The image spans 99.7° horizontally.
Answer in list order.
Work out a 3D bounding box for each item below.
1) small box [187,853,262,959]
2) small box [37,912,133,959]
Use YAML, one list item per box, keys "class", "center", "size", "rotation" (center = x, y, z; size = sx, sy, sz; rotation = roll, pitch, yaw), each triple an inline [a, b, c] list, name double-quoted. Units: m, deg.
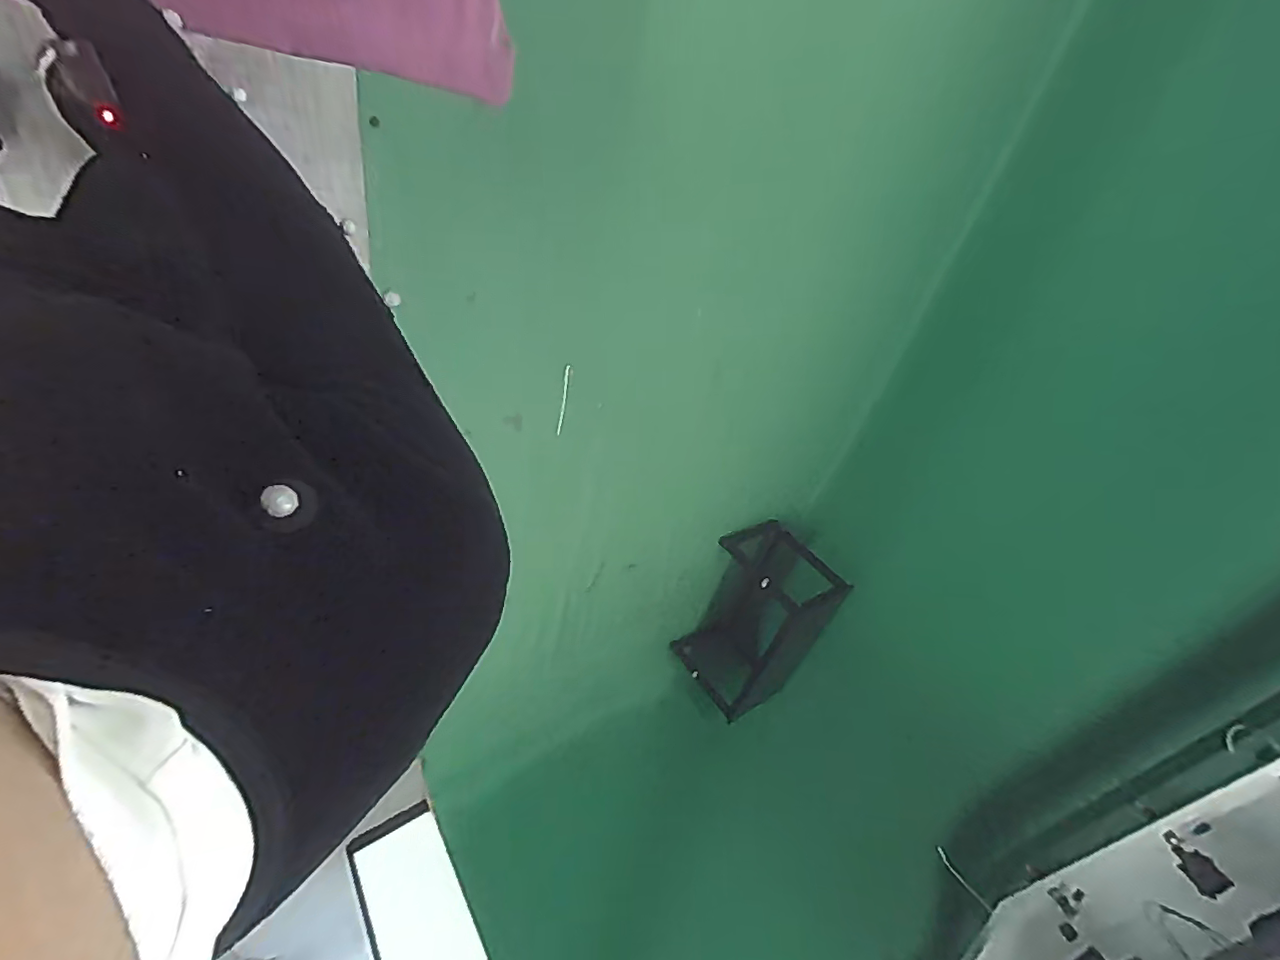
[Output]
- class: "small box"
  center: [-1.248, 1.273, 1.627]
  size: [0.168, 0.176, 0.179]
  rotation: [-7, 131, -40]
- class: "small box"
  center: [-1.469, 1.303, 1.435]
  size: [0.168, 0.176, 0.179]
  rotation: [-8, 131, -41]
